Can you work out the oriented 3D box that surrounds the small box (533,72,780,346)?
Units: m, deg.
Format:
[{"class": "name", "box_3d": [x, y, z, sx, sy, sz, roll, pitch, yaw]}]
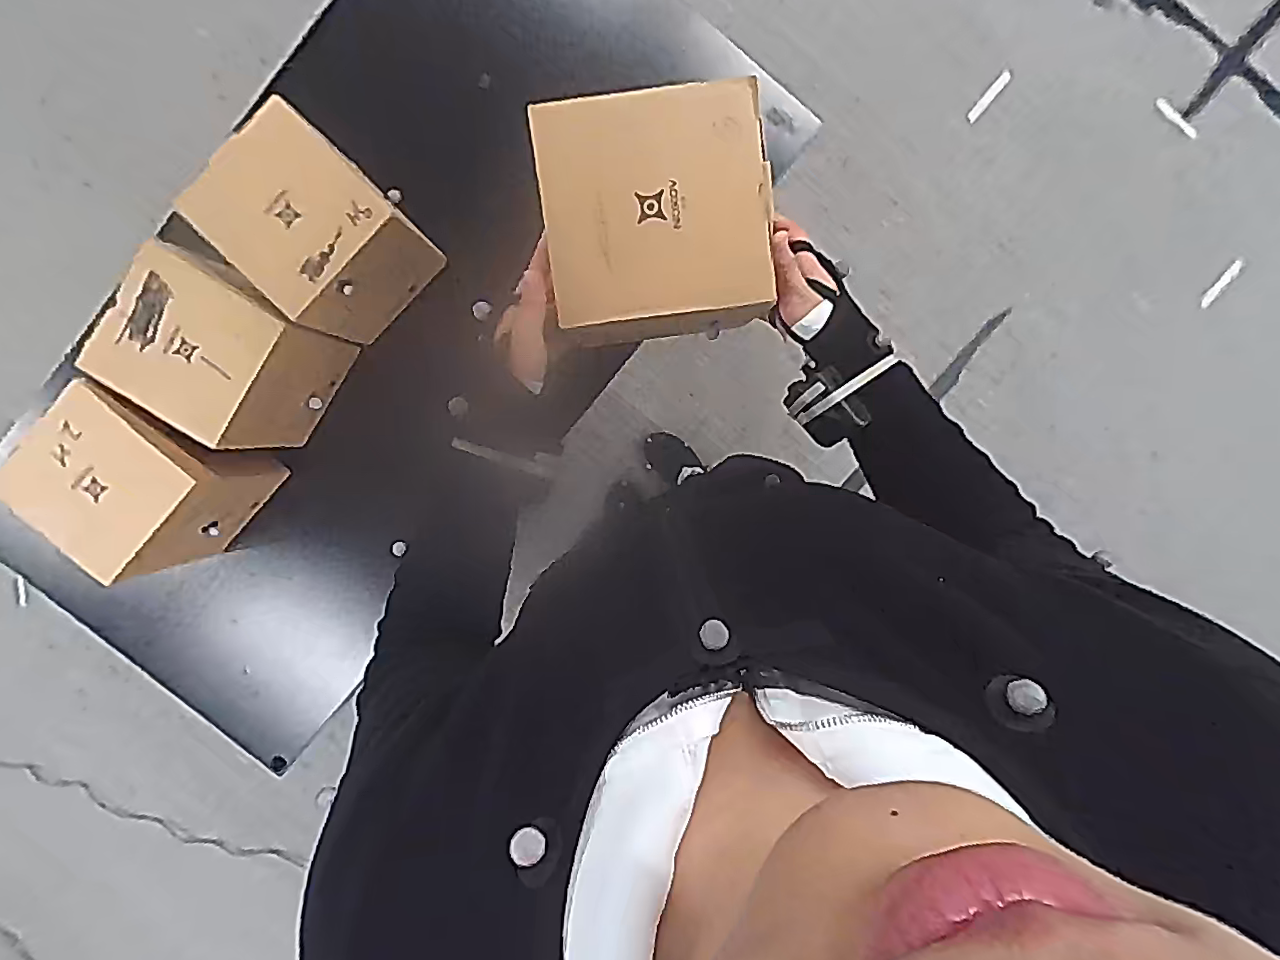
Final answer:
[{"class": "small box", "box_3d": [0.016, -0.222, 0.492, 0.179, 0.176, 0.168, -7, 97, 3]}]

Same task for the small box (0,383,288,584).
[{"class": "small box", "box_3d": [-0.607, -0.001, 0.690, 0.179, 0.176, 0.168, 42, 93, -2]}]
